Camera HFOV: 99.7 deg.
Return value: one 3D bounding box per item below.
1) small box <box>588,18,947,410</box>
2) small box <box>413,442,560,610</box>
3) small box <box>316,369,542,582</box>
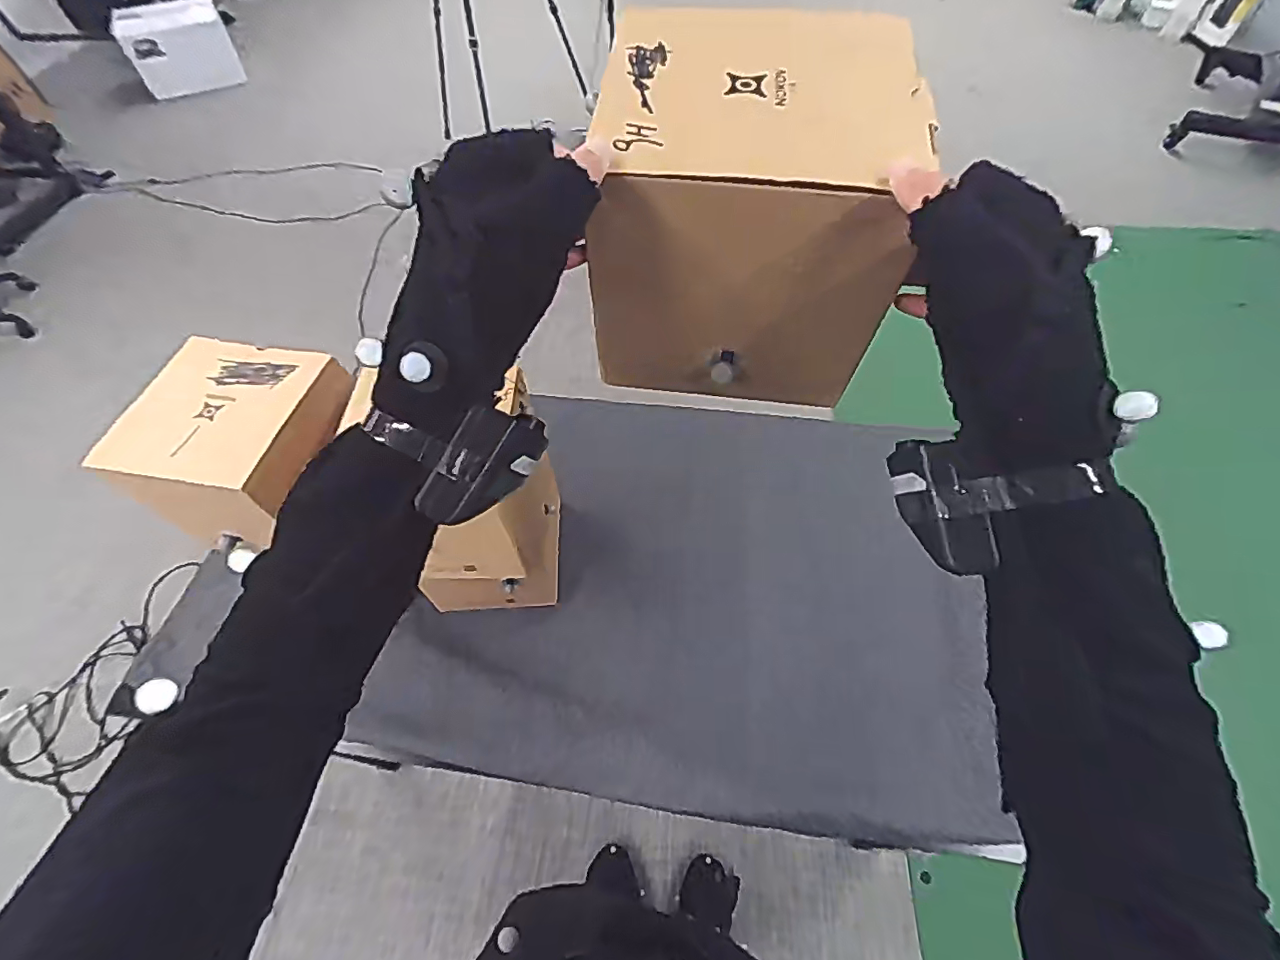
[{"bbox_3d":[0.069,-0.165,0.366,0.179,0.176,0.168,8,61,3],"label":"small box"},{"bbox_3d":[-0.203,0.069,0.735,0.168,0.176,0.179,-2,55,-2],"label":"small box"},{"bbox_3d":[-0.204,0.001,0.586,0.168,0.176,0.179,0,55,0],"label":"small box"}]
